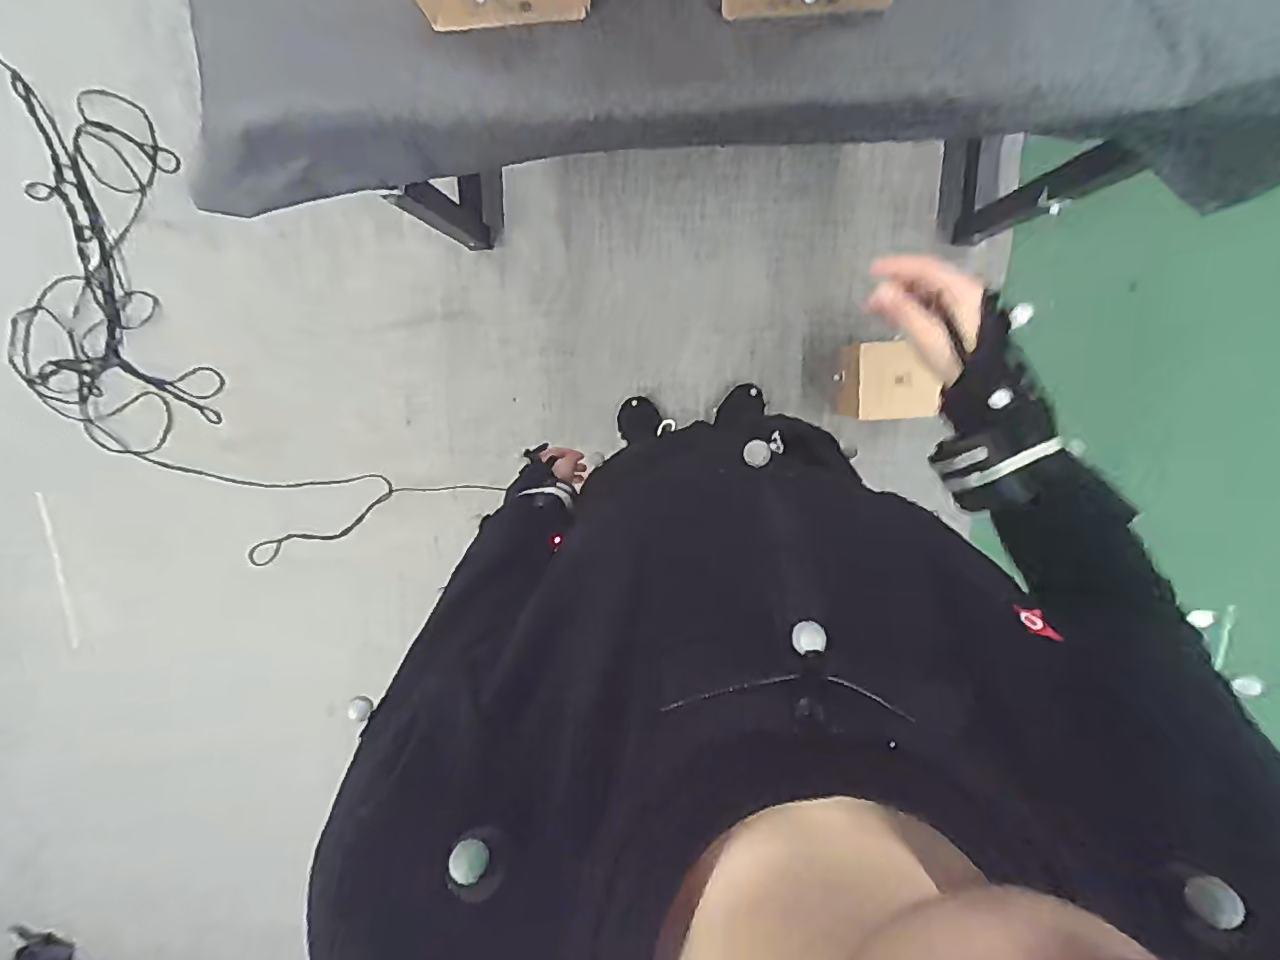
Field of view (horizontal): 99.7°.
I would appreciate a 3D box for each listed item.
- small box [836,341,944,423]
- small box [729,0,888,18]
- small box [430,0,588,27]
[{"bbox_3d":[0.558,-0.220,1.223,0.179,0.176,0.168,-3,99,4],"label":"small box"},{"bbox_3d":[0.159,-0.534,0.444,0.168,0.176,0.179,0,100,4],"label":"small box"},{"bbox_3d":[-0.140,-0.543,0.464,0.168,0.176,0.179,-2,101,3],"label":"small box"}]
